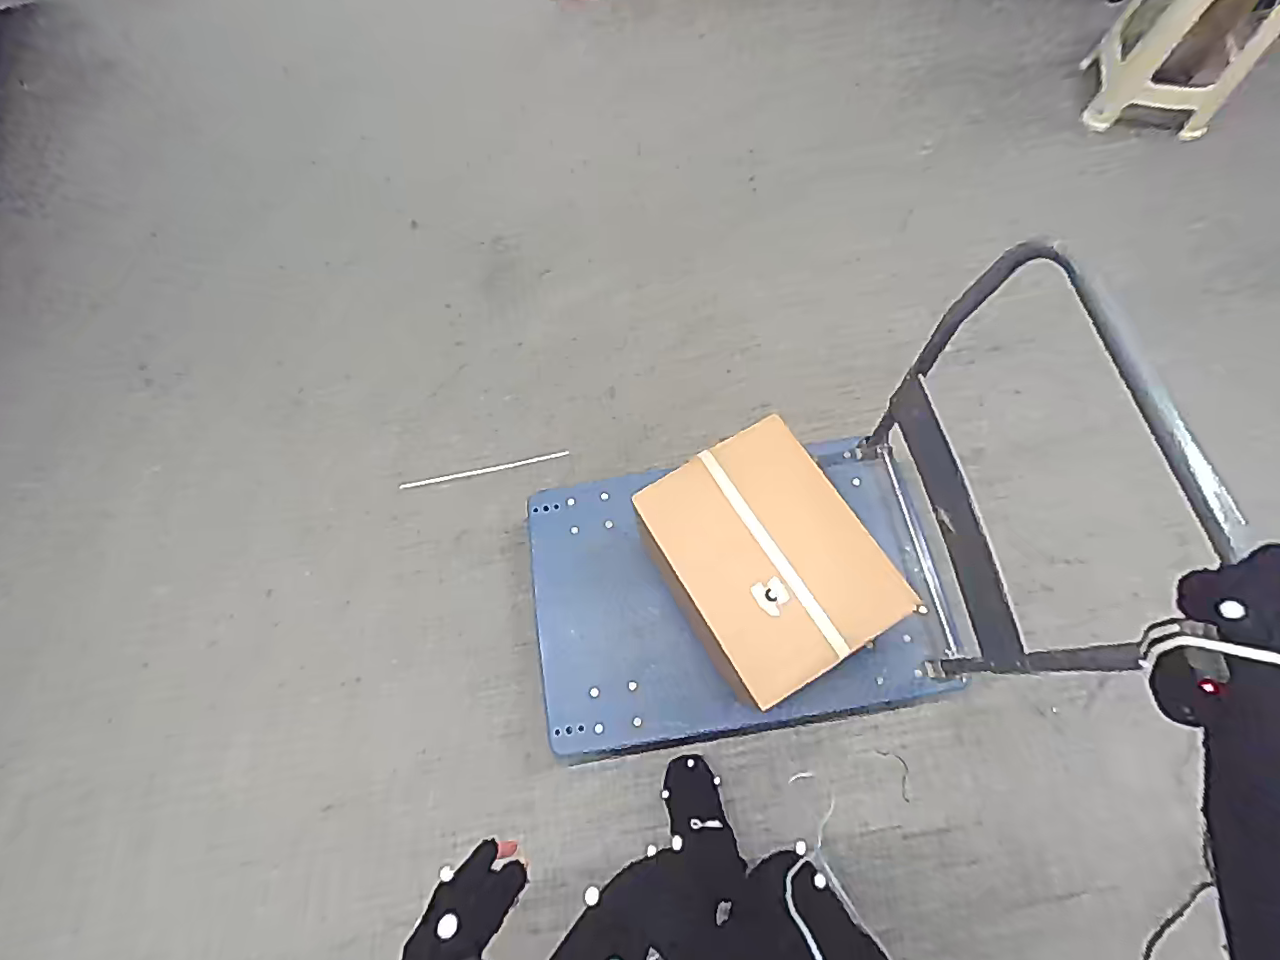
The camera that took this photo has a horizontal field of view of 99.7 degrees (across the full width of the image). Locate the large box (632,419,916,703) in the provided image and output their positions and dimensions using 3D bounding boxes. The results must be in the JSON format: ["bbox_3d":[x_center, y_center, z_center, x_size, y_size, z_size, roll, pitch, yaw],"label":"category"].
[{"bbox_3d":[0.222,0.166,1.056,0.320,0.320,0.408,-31,71,-7],"label":"large box"}]
